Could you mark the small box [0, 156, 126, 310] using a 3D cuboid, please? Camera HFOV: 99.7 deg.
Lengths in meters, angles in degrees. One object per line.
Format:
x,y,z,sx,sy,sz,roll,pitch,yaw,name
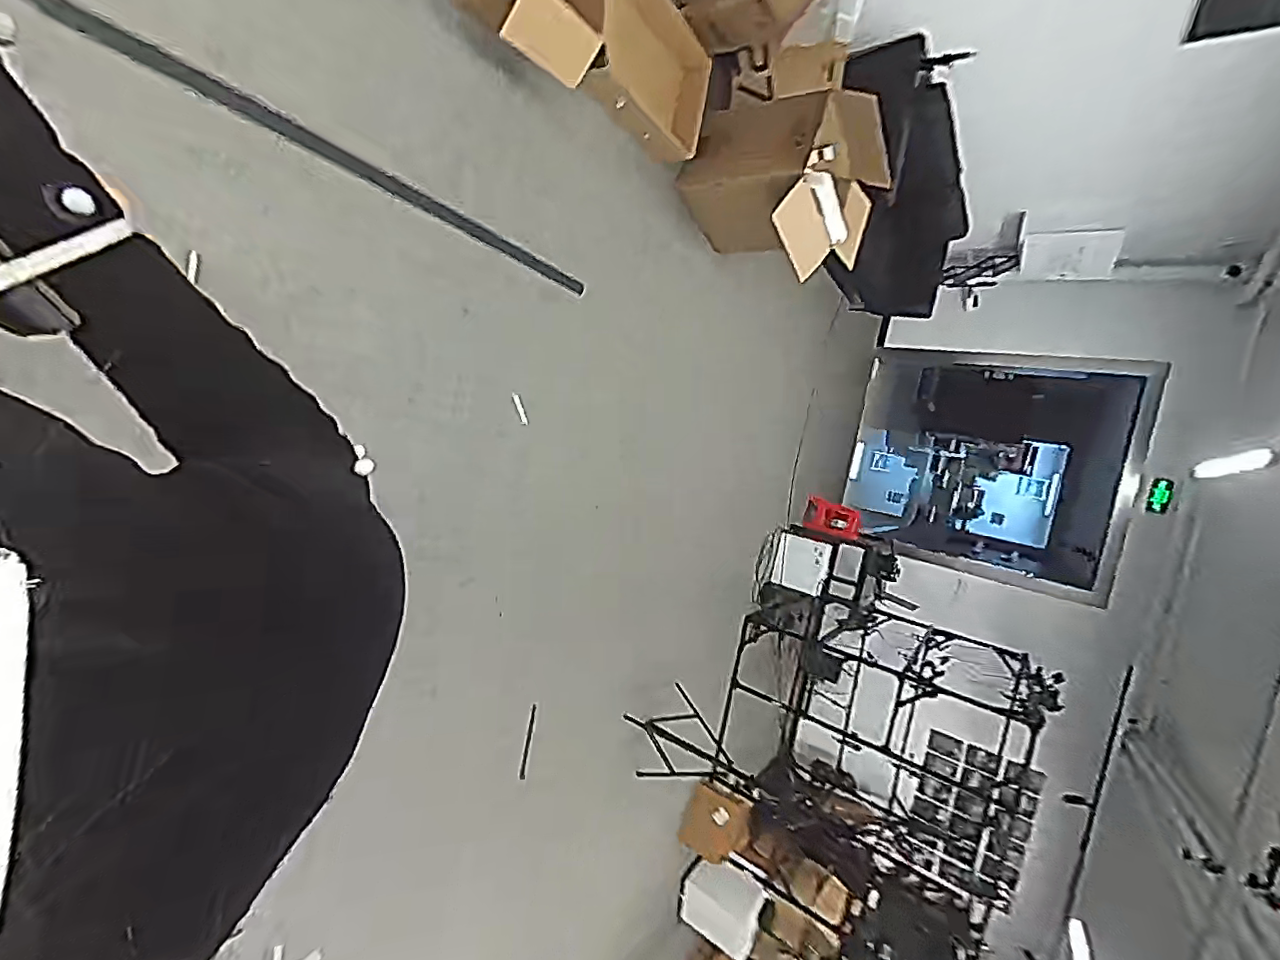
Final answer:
-0.932,-0.375,0.832,0.168,0.176,0.179,3,100,-55,small box
